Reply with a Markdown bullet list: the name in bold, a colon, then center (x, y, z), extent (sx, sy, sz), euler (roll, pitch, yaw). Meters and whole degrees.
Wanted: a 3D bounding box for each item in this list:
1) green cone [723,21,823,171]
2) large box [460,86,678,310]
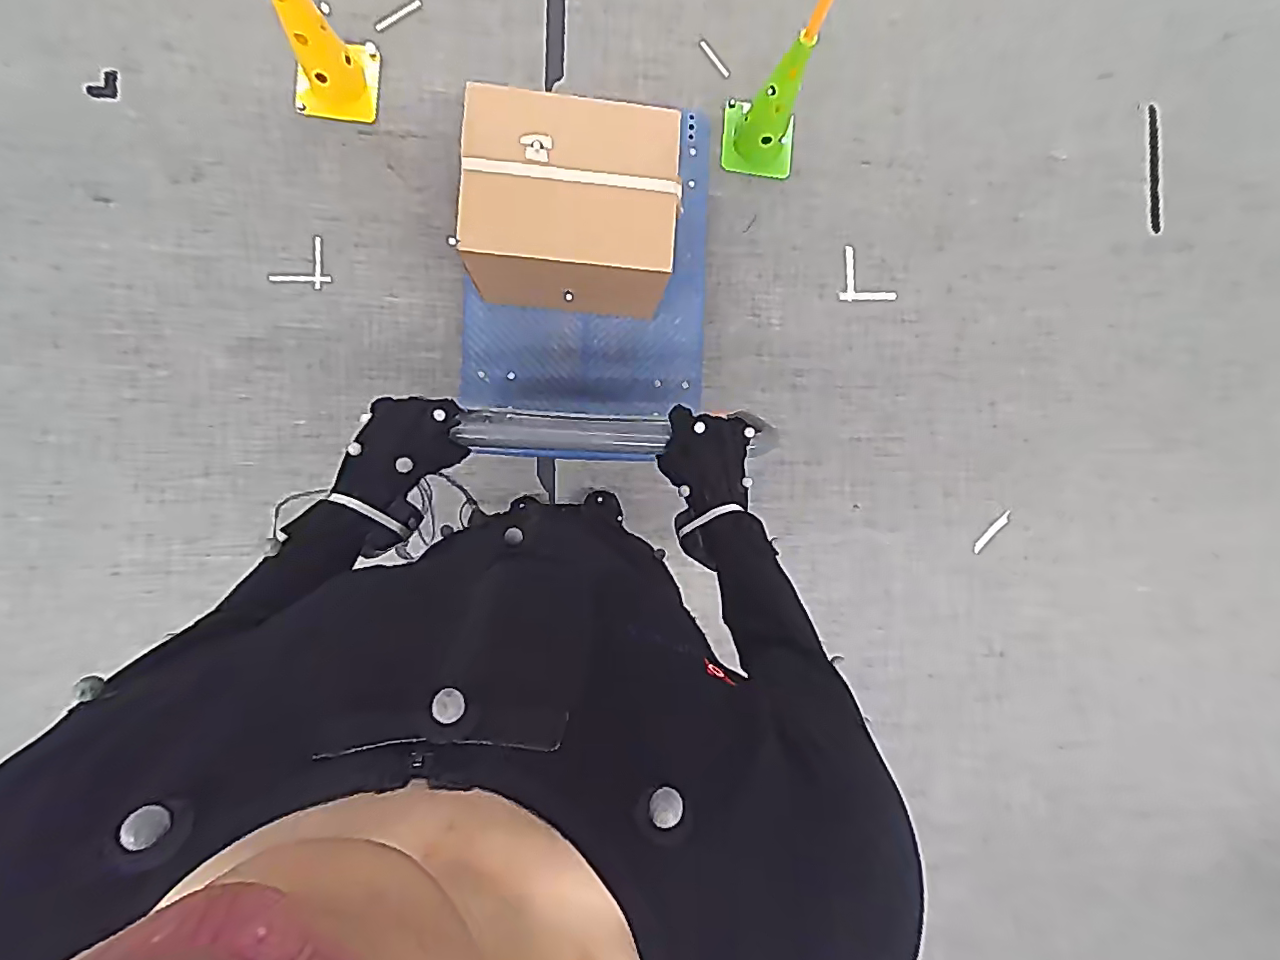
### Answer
- **green cone**: center (0.357, -0.985, 1.362), extent (0.202, 0.368, 0.200), euler (4, 90, -7)
- **large box**: center (-0.141, -0.573, 1.167), extent (0.408, 0.320, 0.320), euler (4, 90, -5)
